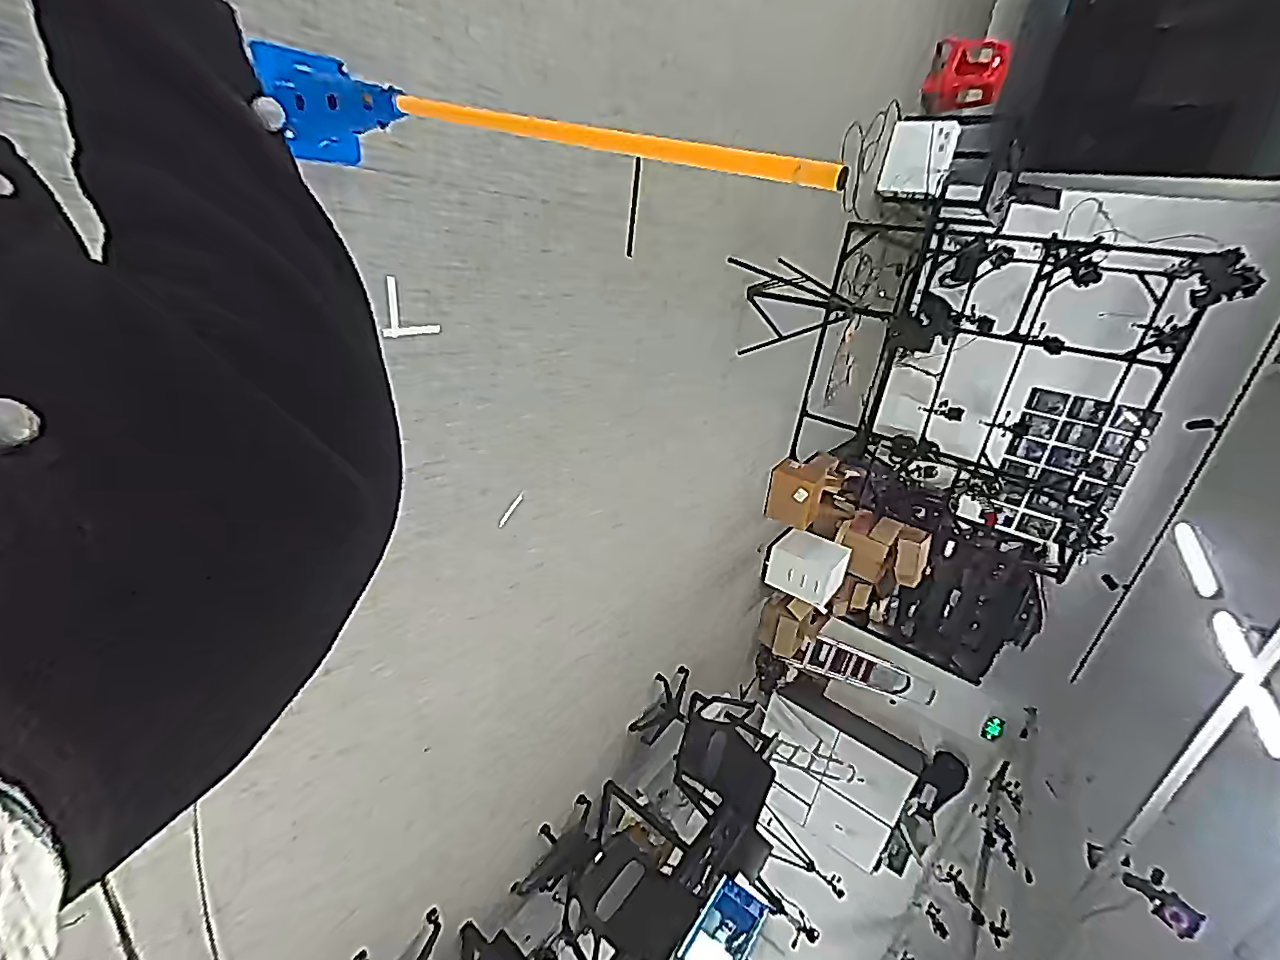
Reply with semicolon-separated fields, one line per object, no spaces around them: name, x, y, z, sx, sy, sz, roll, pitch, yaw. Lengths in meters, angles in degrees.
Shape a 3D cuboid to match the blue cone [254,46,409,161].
blue cone;-0.580;-0.754;1.082;0.193;0.380;0.192;-27;130;-47
